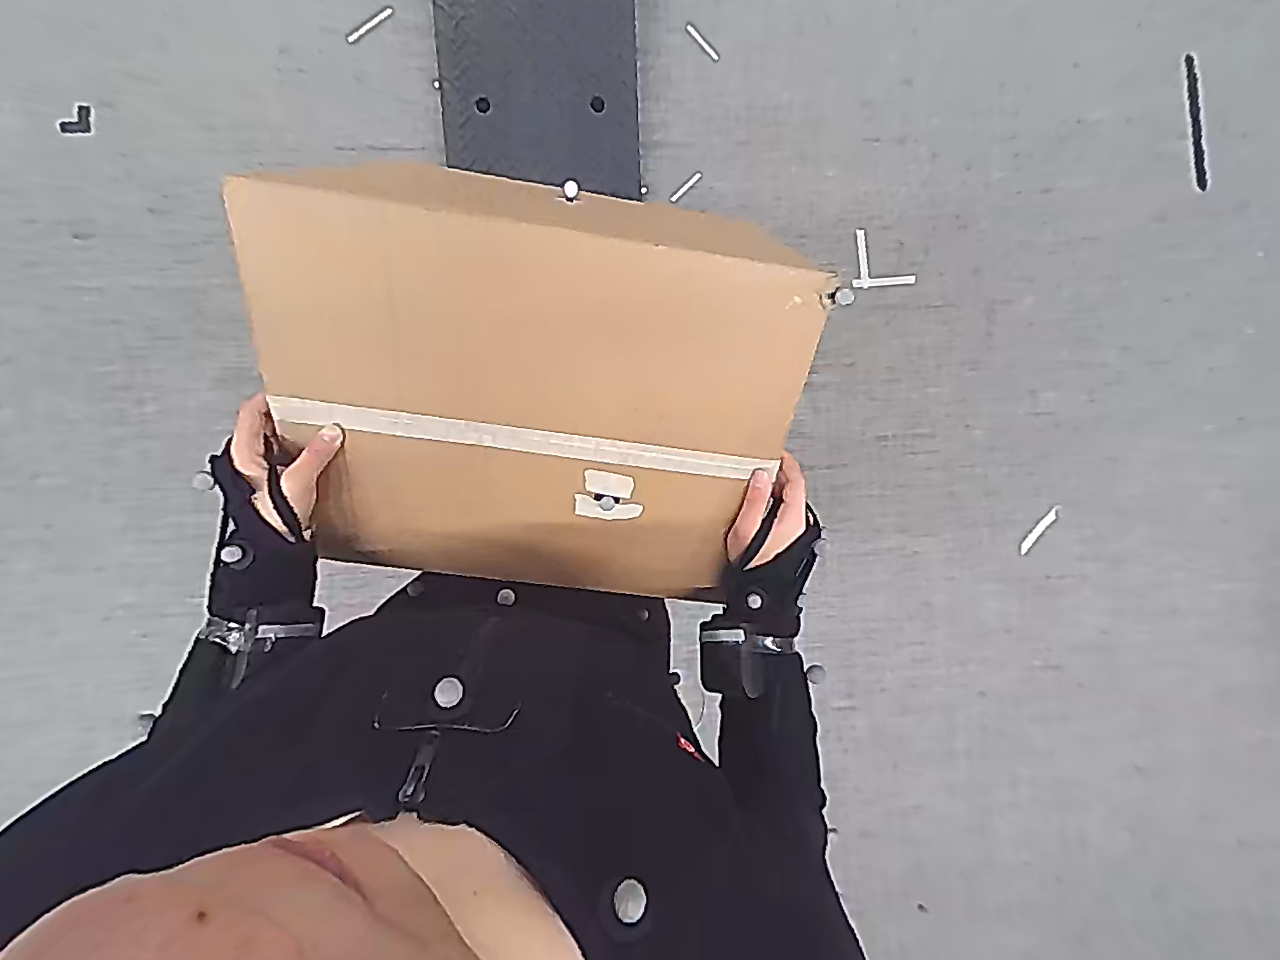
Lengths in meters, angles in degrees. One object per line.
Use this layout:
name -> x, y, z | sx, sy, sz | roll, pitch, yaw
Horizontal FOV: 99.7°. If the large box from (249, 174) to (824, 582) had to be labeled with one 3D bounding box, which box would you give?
large box -> -0.087, -0.122, 0.575 | 0.408, 0.320, 0.320 | 6, 123, -5
